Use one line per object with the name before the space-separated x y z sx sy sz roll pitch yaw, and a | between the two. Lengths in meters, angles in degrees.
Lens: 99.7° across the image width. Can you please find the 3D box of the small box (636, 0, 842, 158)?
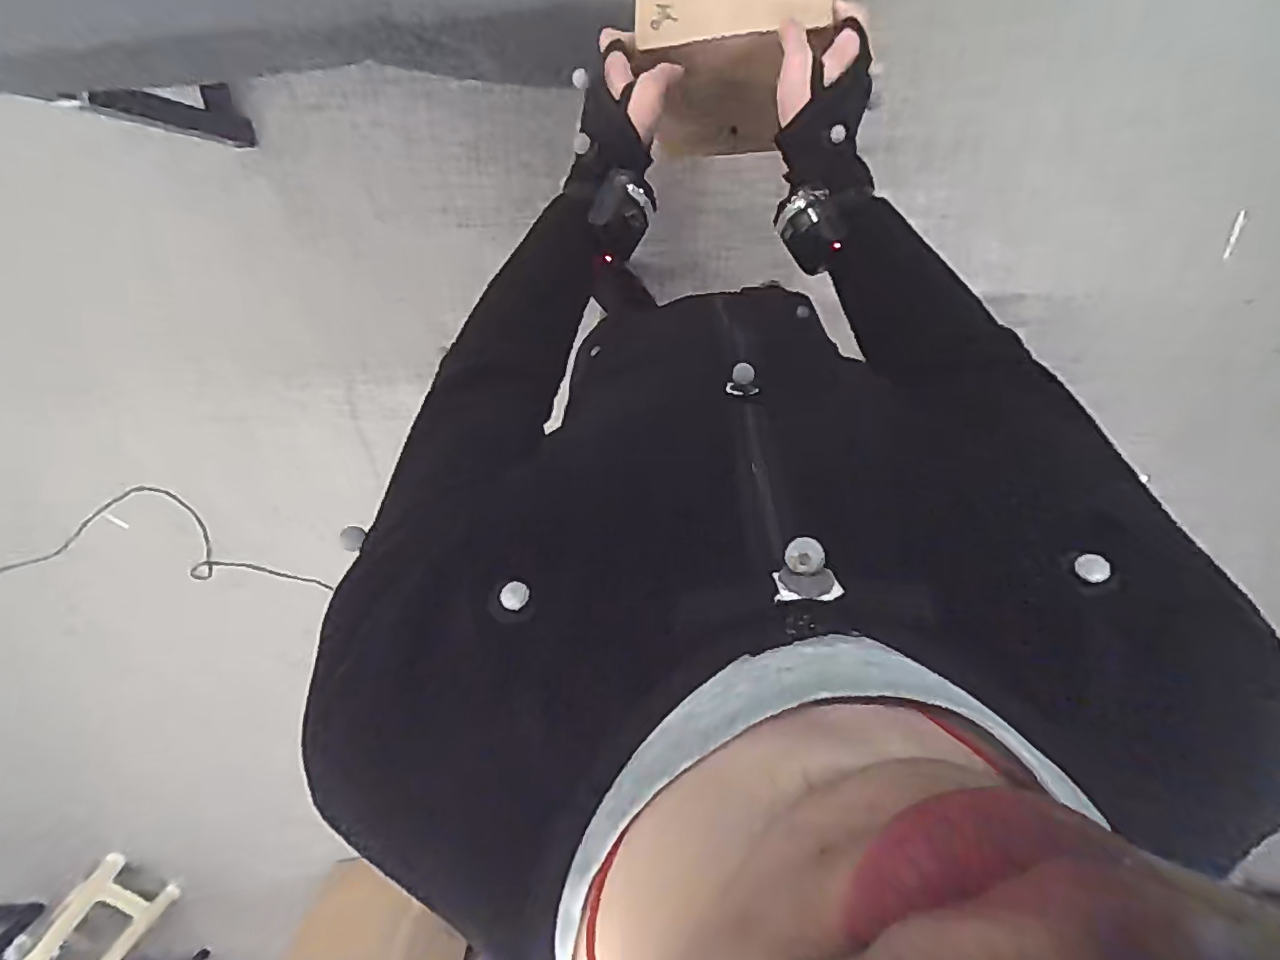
small box | 0.096 -0.458 0.545 0.179 0.176 0.168 1 86 9
